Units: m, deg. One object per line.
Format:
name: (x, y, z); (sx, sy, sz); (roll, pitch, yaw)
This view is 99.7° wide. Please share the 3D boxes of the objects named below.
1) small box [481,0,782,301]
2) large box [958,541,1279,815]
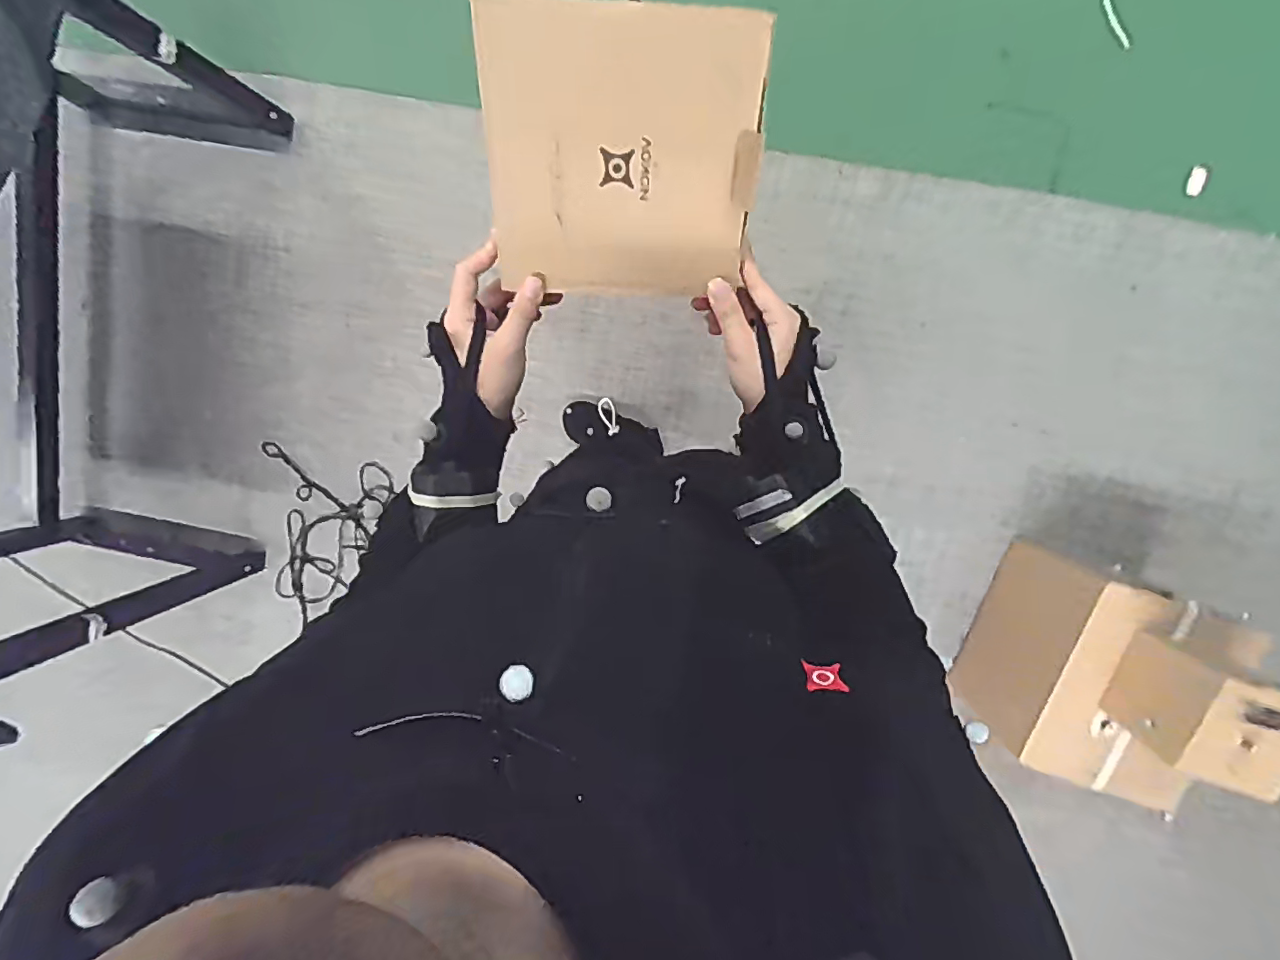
small box: (-0.009, -0.247, 0.416); (0.179, 0.176, 0.168); (1, 124, -1)
large box: (0.970, 0.393, 1.158); (0.320, 0.320, 0.408); (18, 101, 4)
